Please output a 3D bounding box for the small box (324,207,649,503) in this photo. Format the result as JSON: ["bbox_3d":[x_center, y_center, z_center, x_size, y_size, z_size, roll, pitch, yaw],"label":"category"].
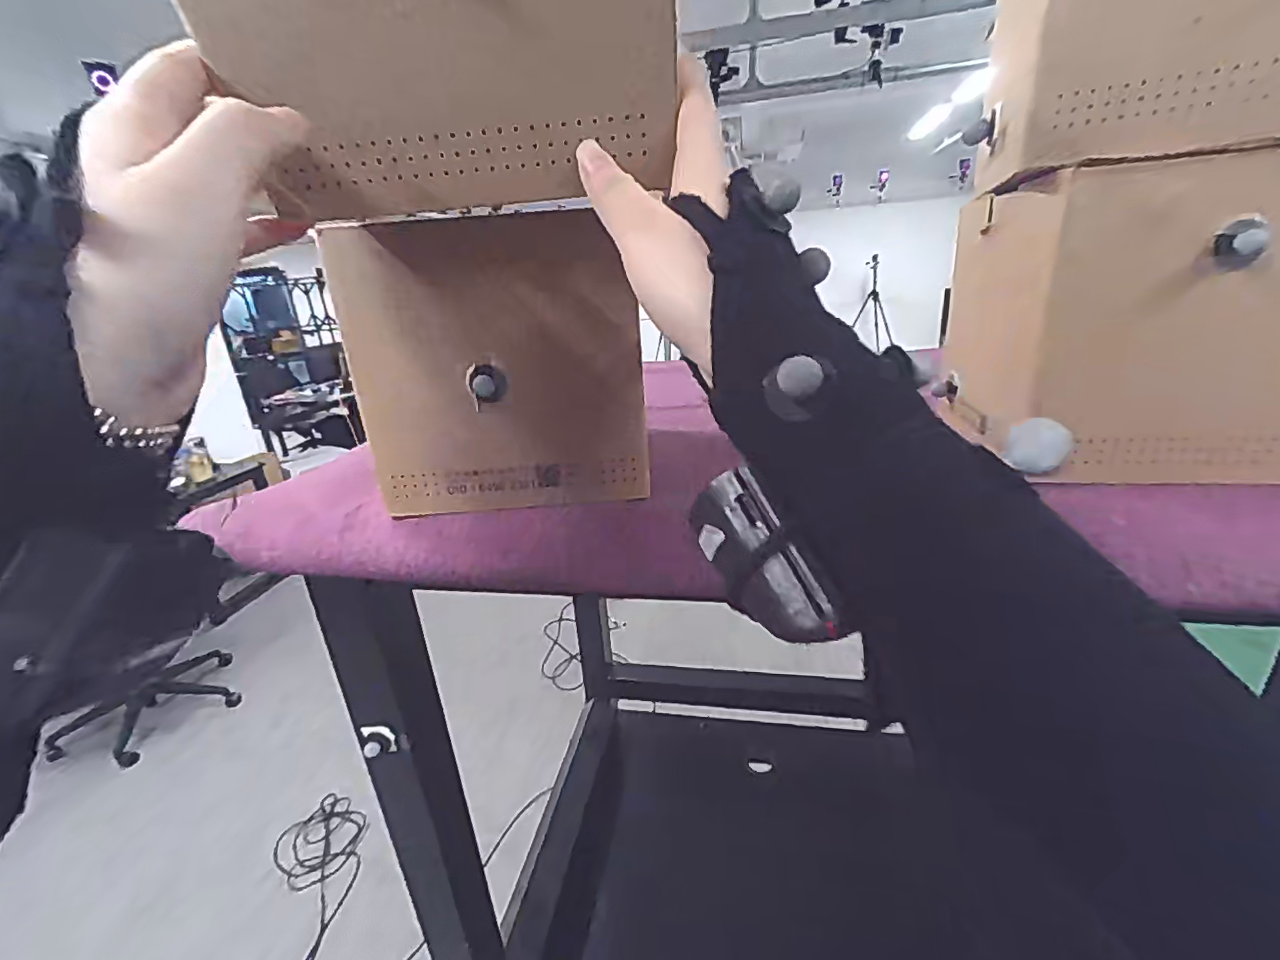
[{"bbox_3d":[-0.081,-0.088,0.386,0.168,0.176,0.179,-3,21,0],"label":"small box"}]

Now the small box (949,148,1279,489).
[{"bbox_3d":[0.315,-0.099,0.343,0.179,0.176,0.168,1,21,12],"label":"small box"}]

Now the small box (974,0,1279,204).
[{"bbox_3d":[0.299,-0.251,0.287,0.179,0.176,0.168,3,21,22],"label":"small box"}]
